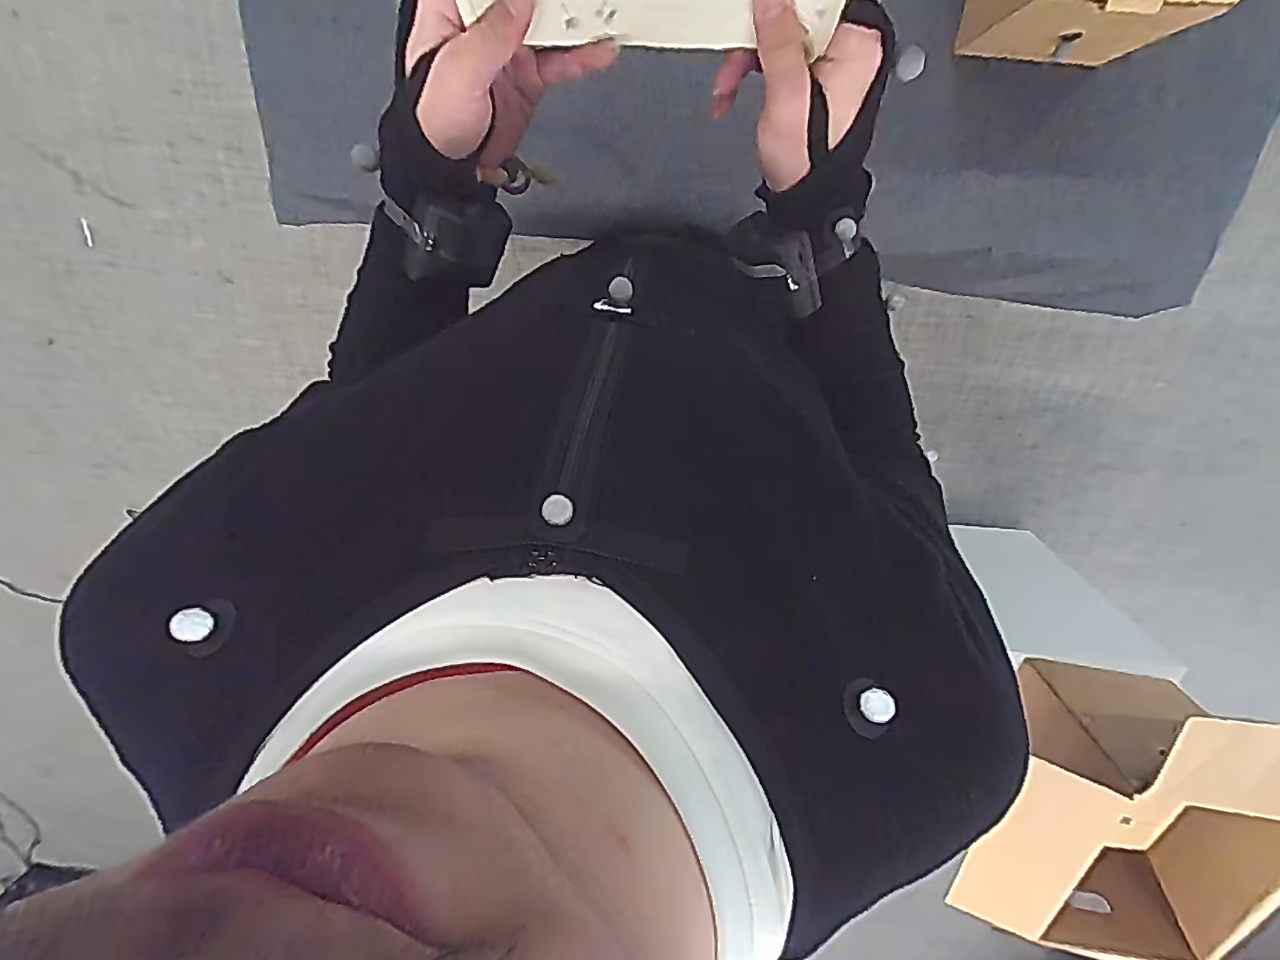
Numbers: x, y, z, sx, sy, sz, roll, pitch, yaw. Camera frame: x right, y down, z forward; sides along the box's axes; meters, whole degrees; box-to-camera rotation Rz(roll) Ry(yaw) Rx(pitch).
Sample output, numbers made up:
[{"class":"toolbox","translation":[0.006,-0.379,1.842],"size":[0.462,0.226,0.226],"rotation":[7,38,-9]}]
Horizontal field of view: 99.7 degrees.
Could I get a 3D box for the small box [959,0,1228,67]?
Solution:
[{"class":"small box","translation":[0.434,-0.514,0.507],"size":[0.168,0.176,0.179],"rotation":[6,116,2]}]
